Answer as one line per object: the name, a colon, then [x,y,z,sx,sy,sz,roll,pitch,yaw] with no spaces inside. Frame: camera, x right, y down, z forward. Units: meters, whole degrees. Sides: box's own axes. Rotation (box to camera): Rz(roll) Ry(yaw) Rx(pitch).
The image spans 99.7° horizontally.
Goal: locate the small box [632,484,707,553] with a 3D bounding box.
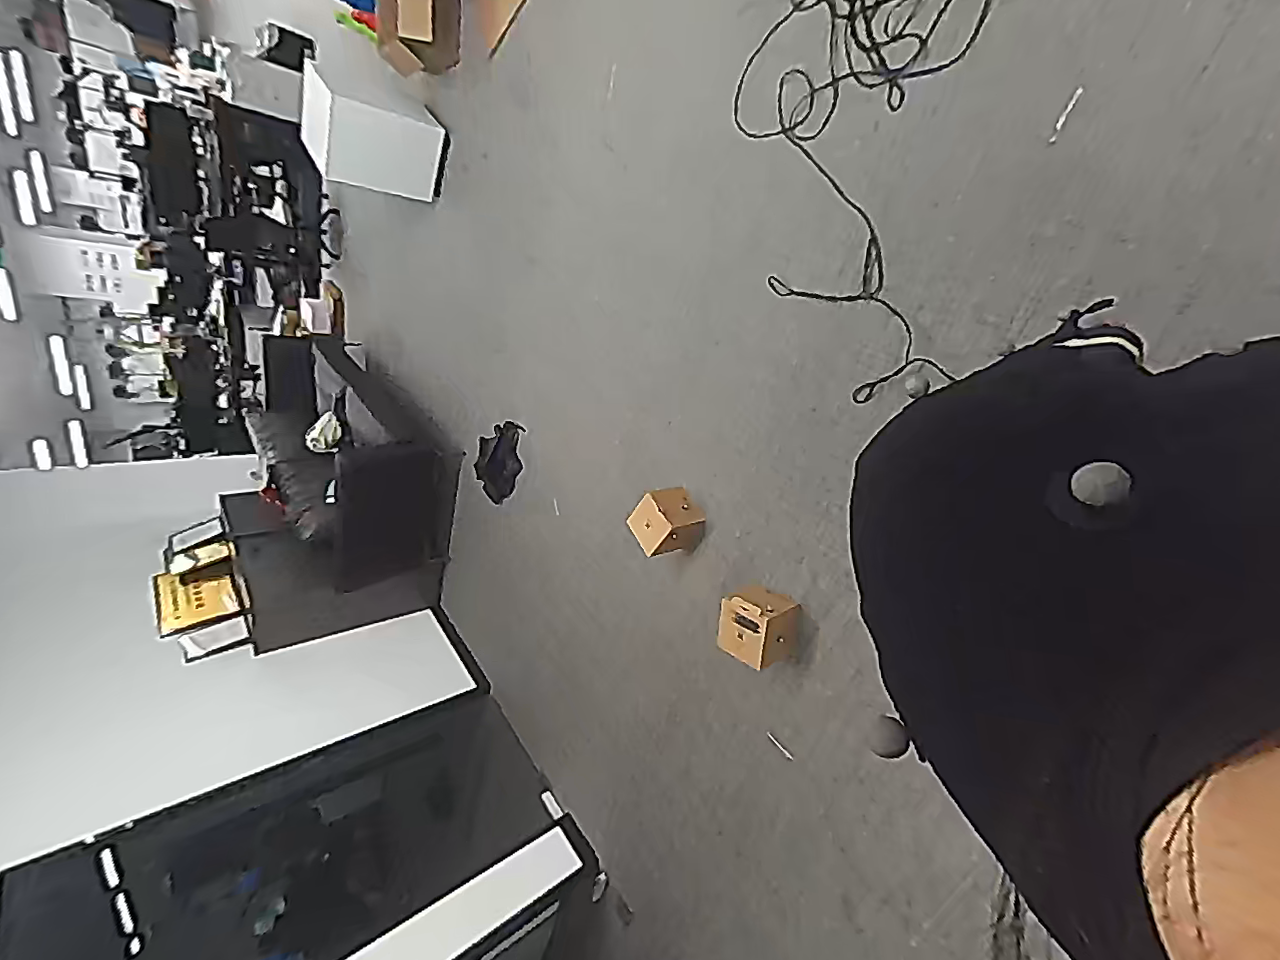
small box: [0.107,0.133,1.923,0.168,0.176,0.179,57,133,26]
